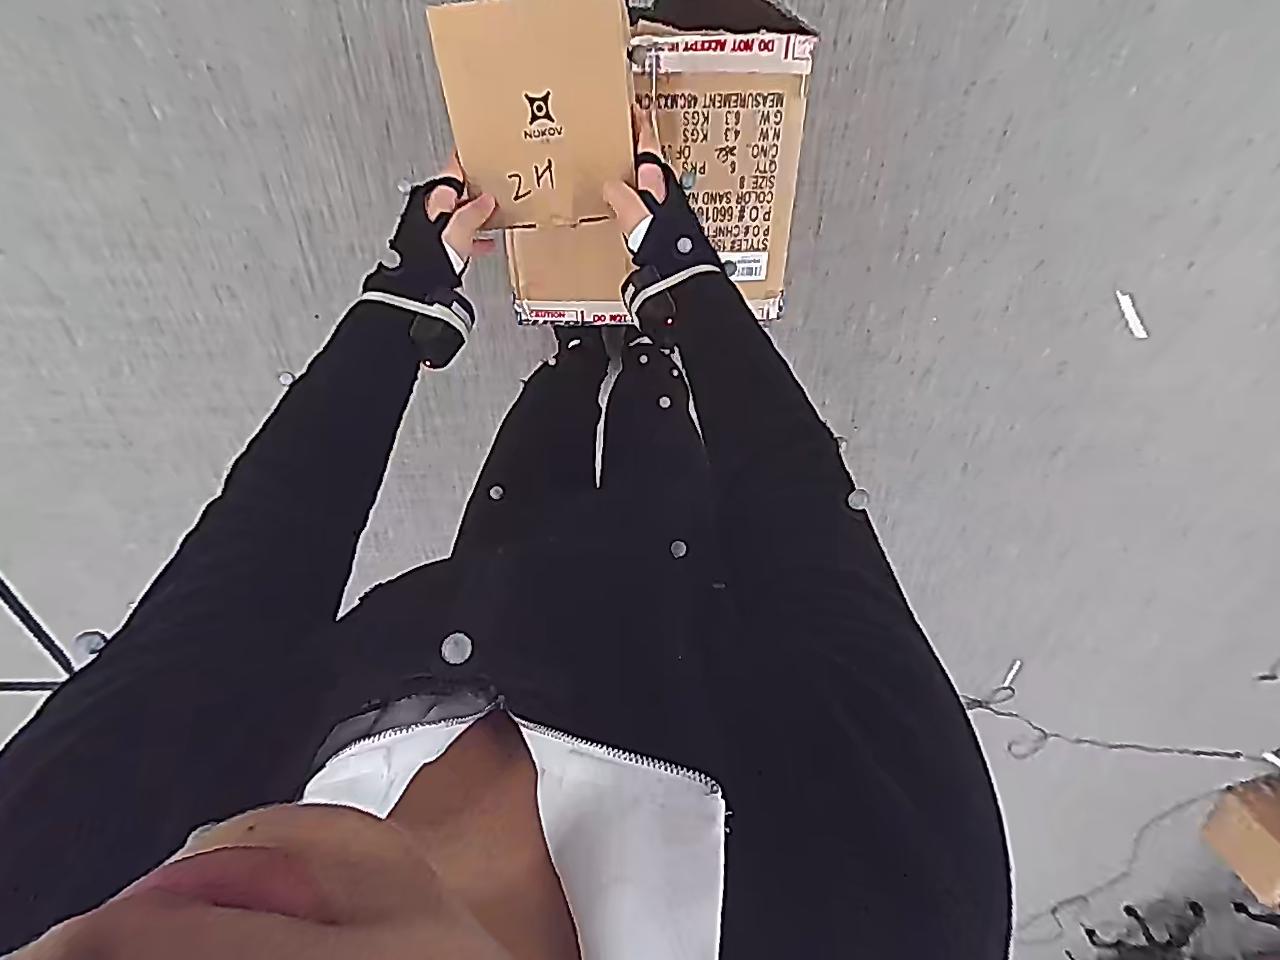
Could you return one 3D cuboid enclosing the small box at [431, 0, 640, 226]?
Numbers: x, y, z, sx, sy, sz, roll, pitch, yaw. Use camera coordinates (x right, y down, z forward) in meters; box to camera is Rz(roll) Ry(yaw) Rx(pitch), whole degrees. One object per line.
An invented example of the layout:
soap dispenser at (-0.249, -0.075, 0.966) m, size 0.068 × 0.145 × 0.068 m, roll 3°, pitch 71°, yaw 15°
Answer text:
small box at (-0.088, -0.373, 0.558) m, size 0.168 × 0.176 × 0.179 m, roll -3°, pitch 123°, yaw 4°
